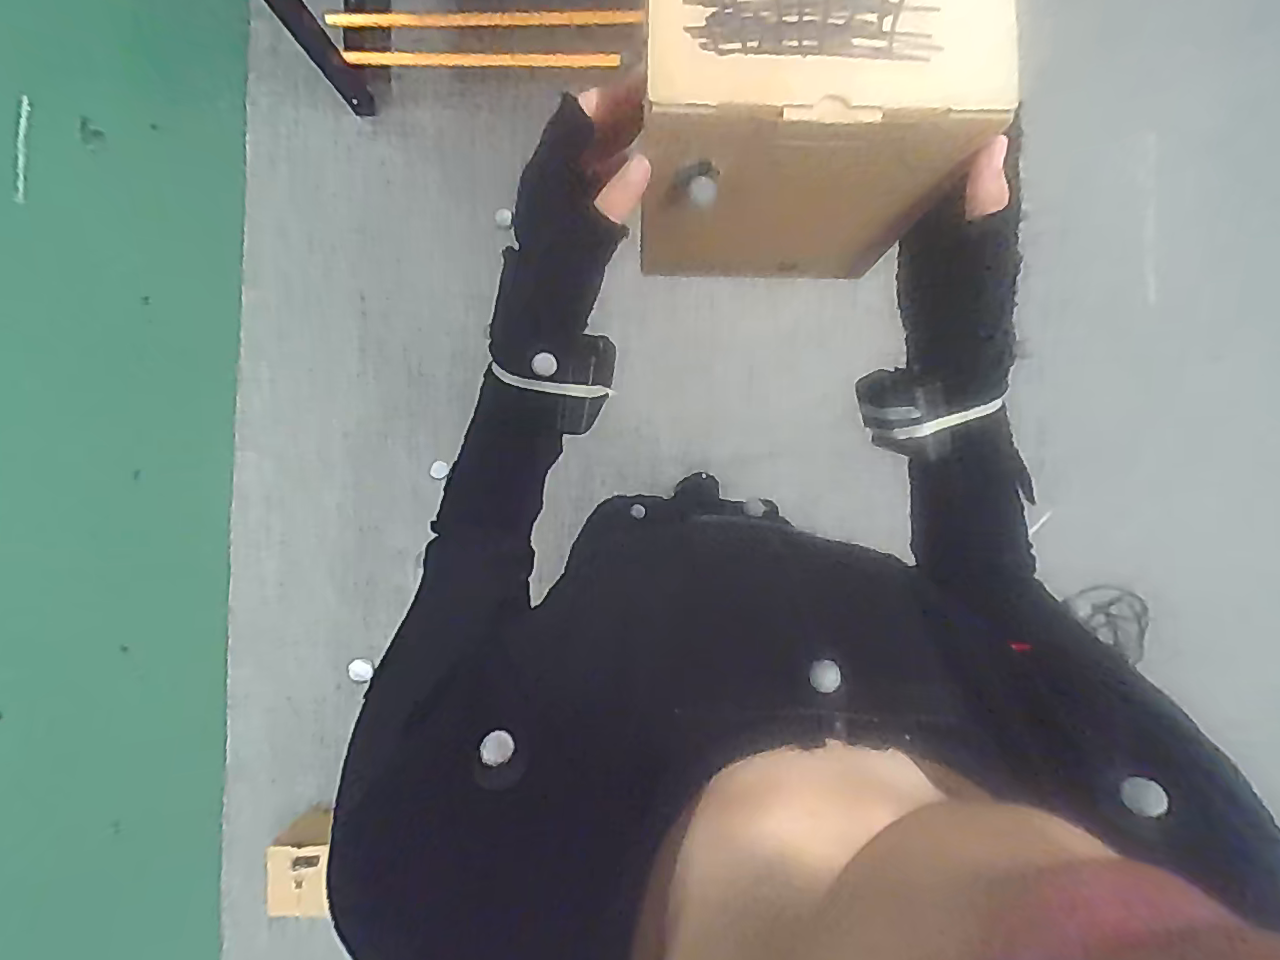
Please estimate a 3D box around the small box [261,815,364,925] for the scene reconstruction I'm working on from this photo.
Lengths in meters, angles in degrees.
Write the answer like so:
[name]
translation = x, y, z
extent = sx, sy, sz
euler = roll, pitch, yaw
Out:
[small box]
translation = -0.840, 0.999, 1.400
extent = 0.168, 0.176, 0.179
euler = 0, 89, 2
